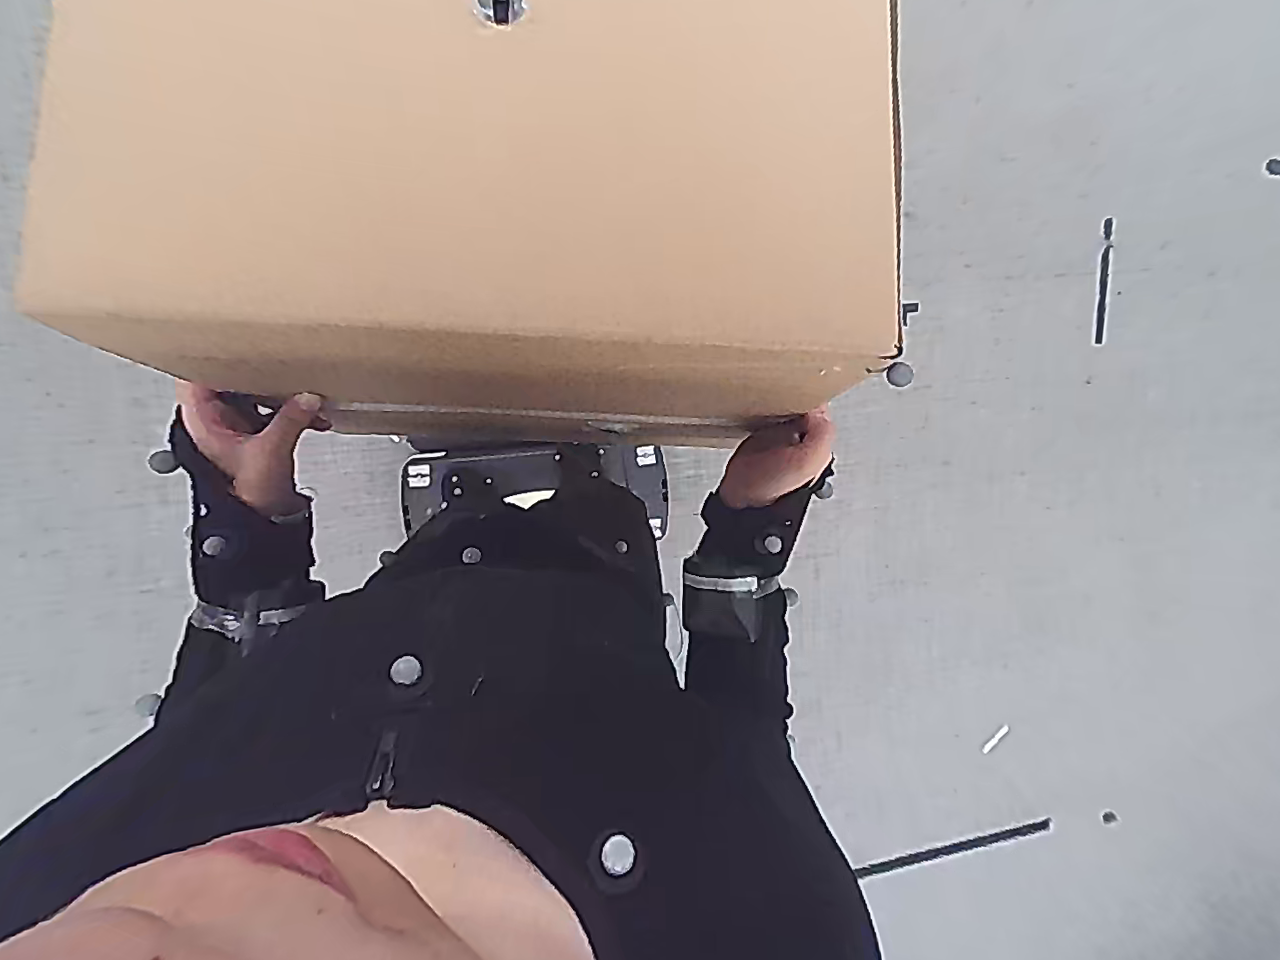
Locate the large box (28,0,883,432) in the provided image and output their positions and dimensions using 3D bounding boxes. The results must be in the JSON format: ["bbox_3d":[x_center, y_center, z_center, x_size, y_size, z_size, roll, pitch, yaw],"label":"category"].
[{"bbox_3d":[-0.089,-0.214,0.410,0.408,0.320,0.320,0,87,-4],"label":"large box"}]

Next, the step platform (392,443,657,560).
[{"bbox_3d":[-0.293,0.052,1.456,0.684,0.204,0.286,-1,98,-9],"label":"step platform"}]
